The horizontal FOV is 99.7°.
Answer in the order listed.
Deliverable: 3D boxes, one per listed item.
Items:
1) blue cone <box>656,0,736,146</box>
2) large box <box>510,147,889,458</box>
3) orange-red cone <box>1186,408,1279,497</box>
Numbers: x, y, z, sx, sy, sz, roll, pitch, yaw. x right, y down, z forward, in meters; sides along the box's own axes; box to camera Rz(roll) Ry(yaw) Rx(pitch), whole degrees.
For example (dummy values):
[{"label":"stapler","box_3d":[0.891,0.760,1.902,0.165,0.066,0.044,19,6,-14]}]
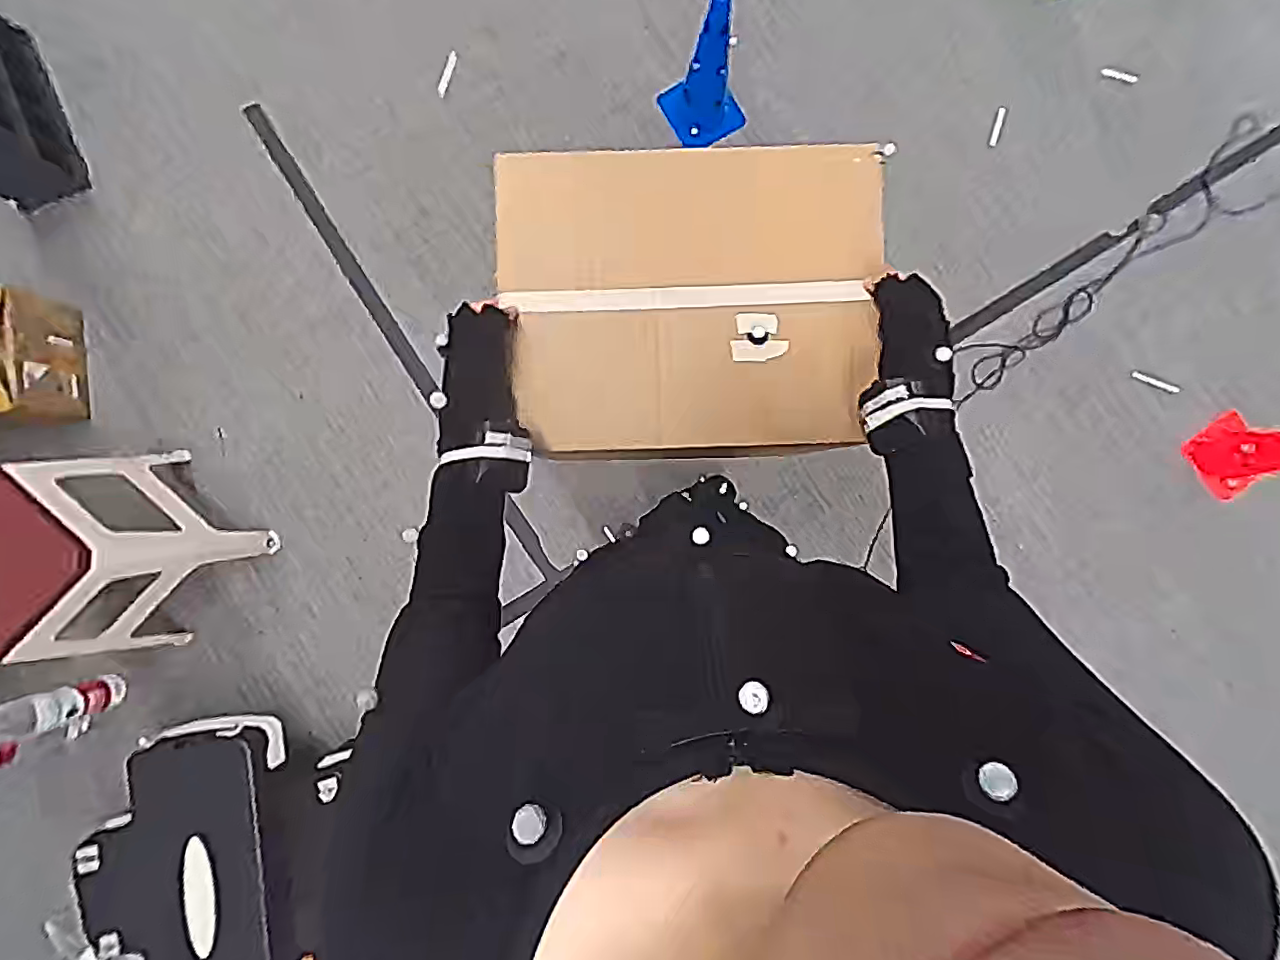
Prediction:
[{"label":"blue cone","box_3d":[0.163,-1.074,1.384,0.193,0.380,0.192,-29,87,-2]},{"label":"large box","box_3d":[0.060,-0.196,0.719,0.408,0.320,0.320,0,90,-1]},{"label":"orange-red cone","box_3d":[1.655,-0.086,1.343,0.199,0.360,0.198,-35,89,-4]}]
